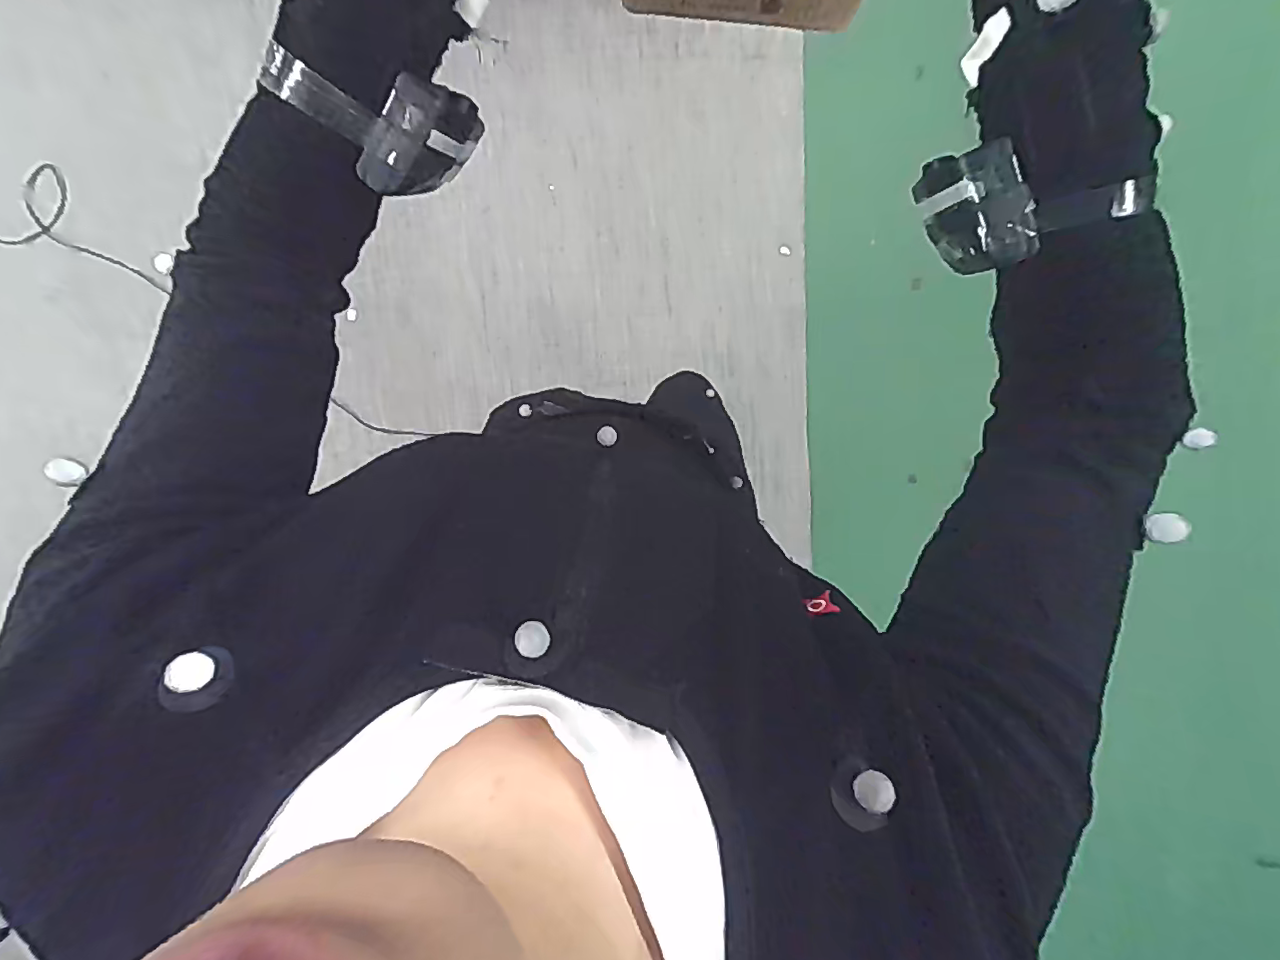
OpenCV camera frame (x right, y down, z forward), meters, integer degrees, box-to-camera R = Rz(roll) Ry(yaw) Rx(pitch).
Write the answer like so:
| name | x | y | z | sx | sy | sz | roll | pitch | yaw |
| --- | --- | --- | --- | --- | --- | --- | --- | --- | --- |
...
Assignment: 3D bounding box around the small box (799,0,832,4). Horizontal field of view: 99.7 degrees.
| name | x | y | z | sx | sy | sz | roll | pitch | yaw |
| --- | --- | --- | --- | --- | --- | --- | --- | --- | --- |
| small box | 0.076 | -0.421 | 0.302 | 0.168 | 0.176 | 0.179 | 6 | 98 | 1 |
